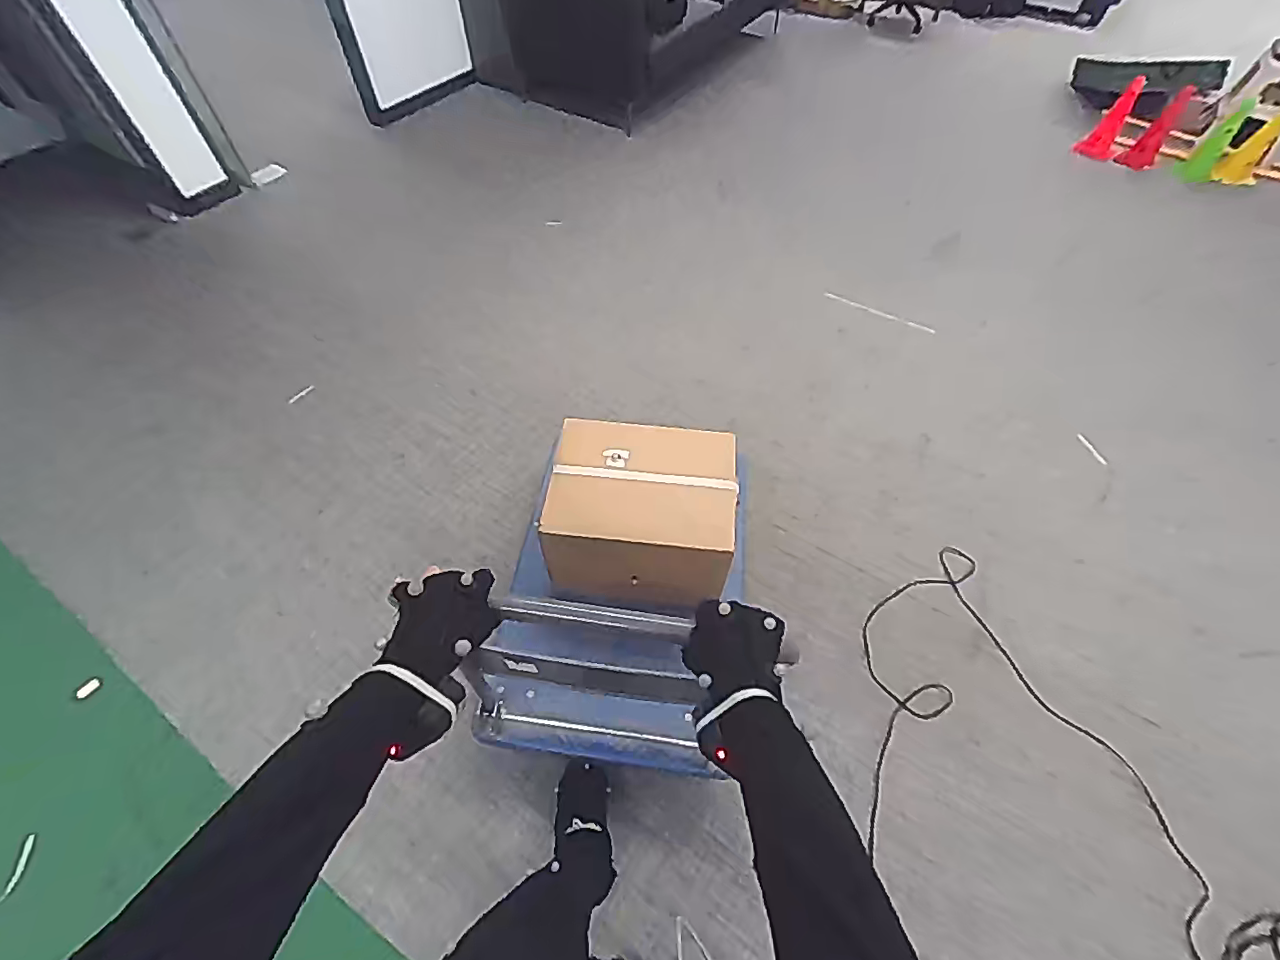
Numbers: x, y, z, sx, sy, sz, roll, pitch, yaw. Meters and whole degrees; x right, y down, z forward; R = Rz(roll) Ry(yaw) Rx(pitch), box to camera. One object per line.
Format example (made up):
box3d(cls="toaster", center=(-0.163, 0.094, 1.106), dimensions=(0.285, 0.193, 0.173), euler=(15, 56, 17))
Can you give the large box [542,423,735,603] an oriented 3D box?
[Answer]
box3d(cls="large box", center=(0.010, 0.087, 1.308), dimensions=(0.408, 0.320, 0.320), euler=(5, 55, 3))
